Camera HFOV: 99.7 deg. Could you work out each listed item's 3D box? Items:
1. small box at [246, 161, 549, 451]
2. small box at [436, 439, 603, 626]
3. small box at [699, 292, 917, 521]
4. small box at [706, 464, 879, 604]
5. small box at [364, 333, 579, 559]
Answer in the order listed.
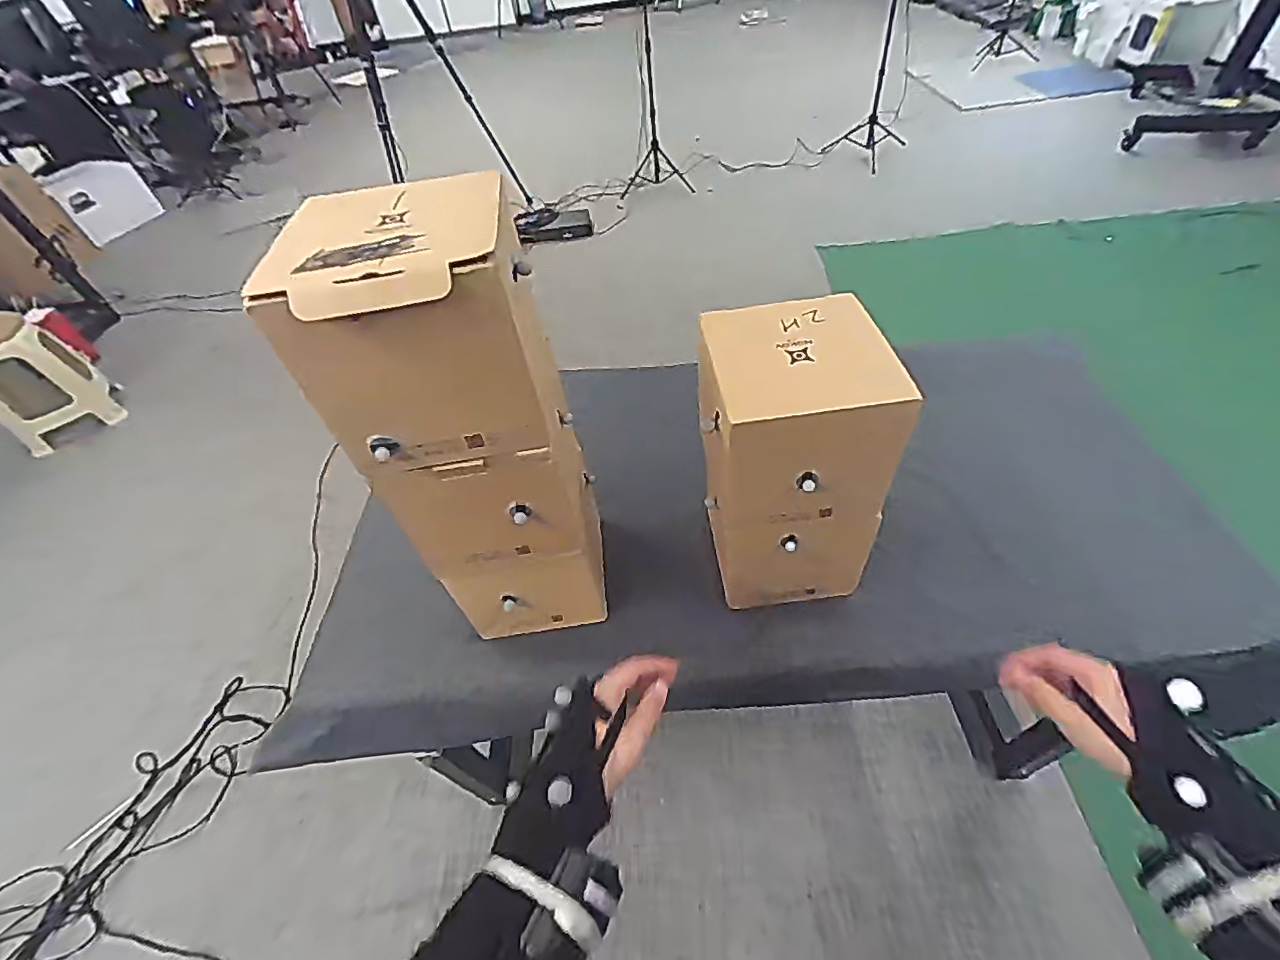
[{"bbox_3d":[-0.174,-0.139,0.457,0.168,0.176,0.179,-9,48,-3],"label":"small box"},{"bbox_3d":[-0.144,0.075,0.702,0.168,0.176,0.179,-8,48,0],"label":"small box"},{"bbox_3d":[0.156,-0.069,0.570,0.168,0.176,0.179,-6,49,0],"label":"small box"},{"bbox_3d":[0.177,0.037,0.696,0.168,0.176,0.179,-7,48,1],"label":"small box"},{"bbox_3d":[-0.160,-0.030,0.579,0.168,0.176,0.179,-8,47,-2],"label":"small box"}]
